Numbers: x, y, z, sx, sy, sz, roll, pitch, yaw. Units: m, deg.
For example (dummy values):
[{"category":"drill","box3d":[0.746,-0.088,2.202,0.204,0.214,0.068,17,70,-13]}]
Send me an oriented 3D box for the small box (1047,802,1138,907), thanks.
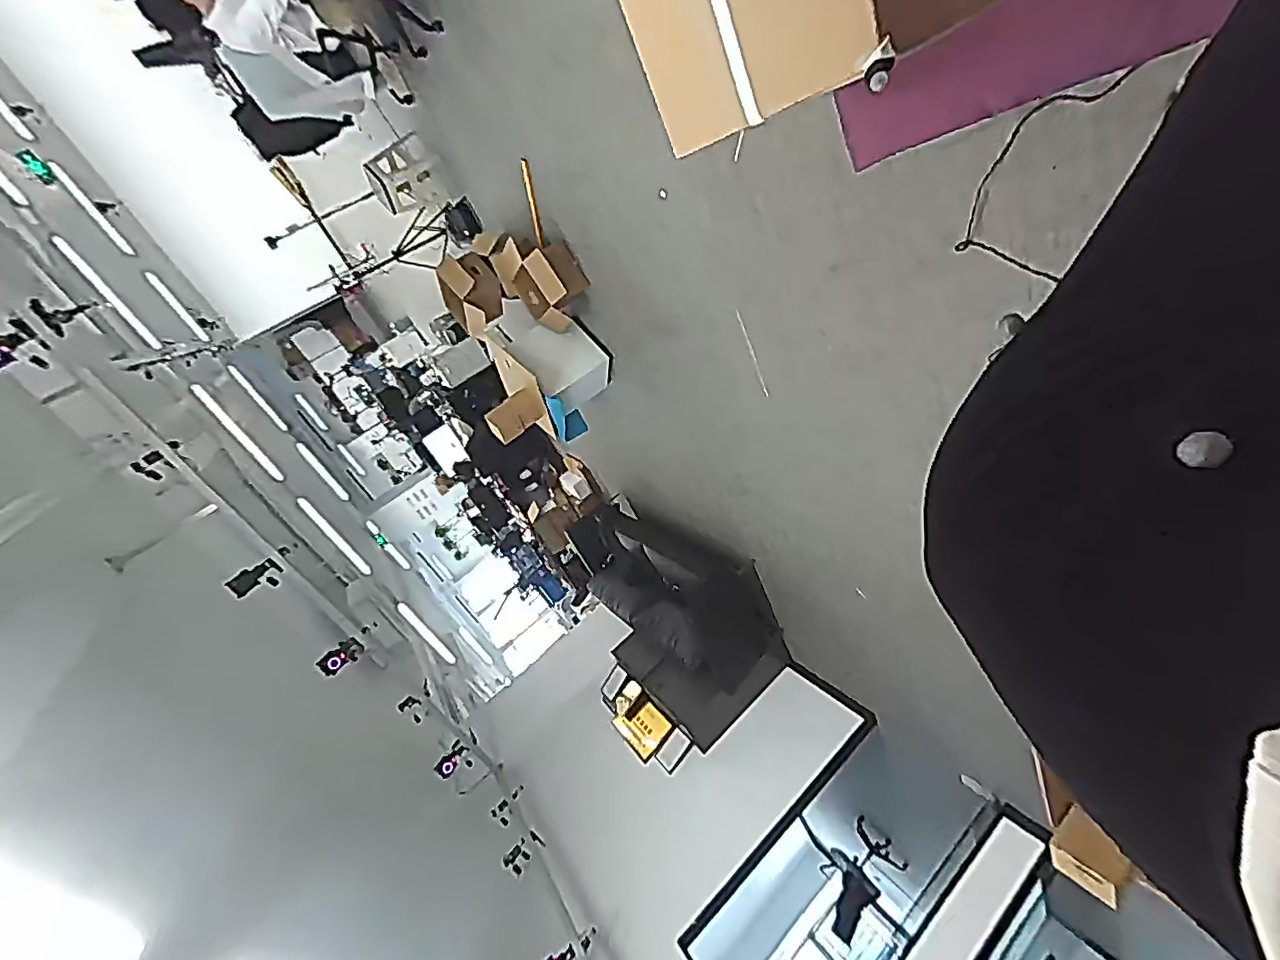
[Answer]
[{"category":"small box","box3d":[1.381,1.135,1.649,0.168,0.176,0.179,24,149,56]}]
